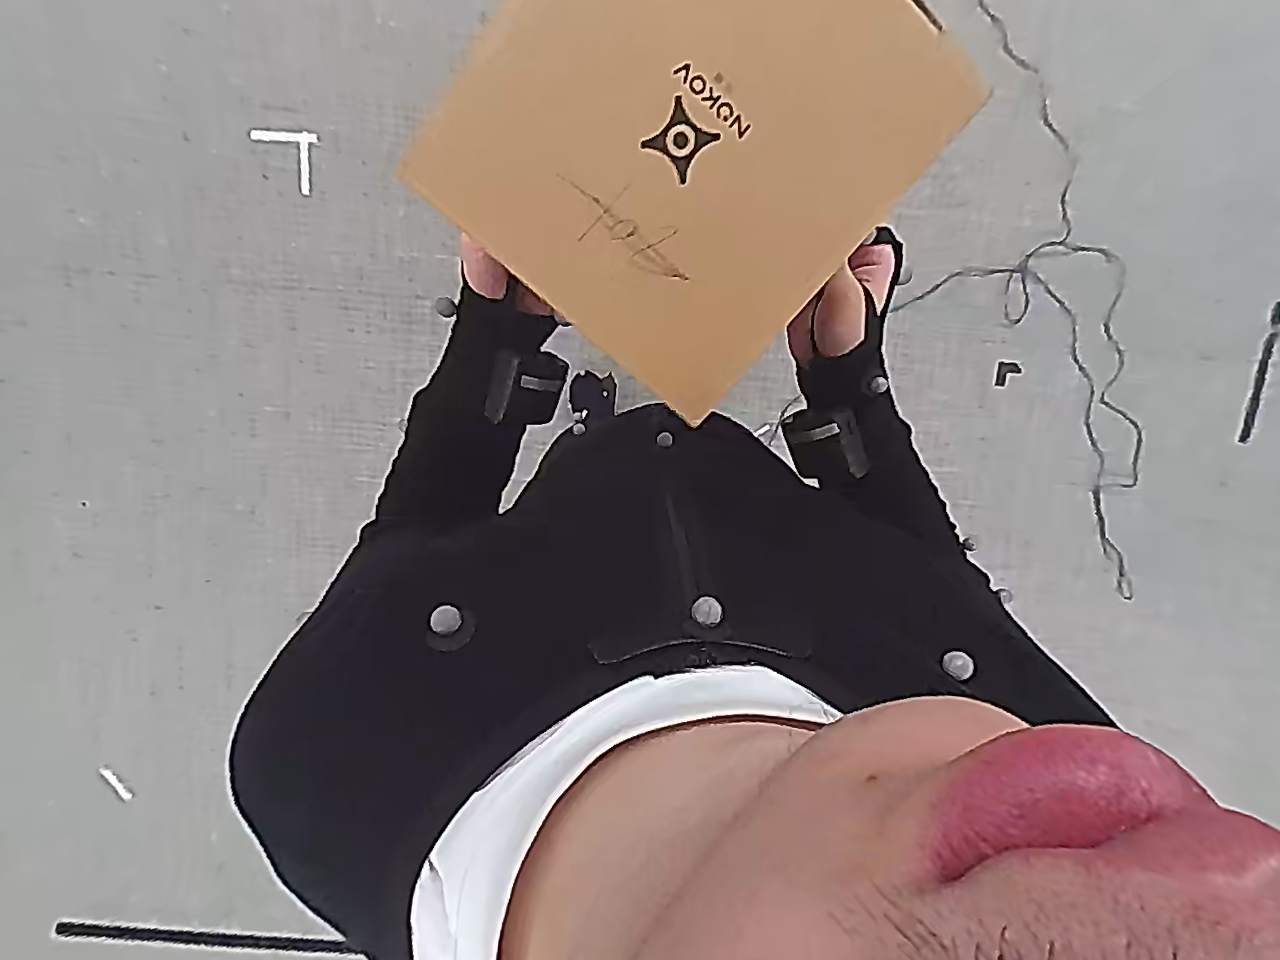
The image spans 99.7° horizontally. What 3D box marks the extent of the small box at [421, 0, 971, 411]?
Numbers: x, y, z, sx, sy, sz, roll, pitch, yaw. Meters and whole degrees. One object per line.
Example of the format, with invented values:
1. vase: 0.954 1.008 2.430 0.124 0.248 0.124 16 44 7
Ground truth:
1. small box: 0.022 -0.166 0.302 0.168 0.176 0.179 39 104 -7
